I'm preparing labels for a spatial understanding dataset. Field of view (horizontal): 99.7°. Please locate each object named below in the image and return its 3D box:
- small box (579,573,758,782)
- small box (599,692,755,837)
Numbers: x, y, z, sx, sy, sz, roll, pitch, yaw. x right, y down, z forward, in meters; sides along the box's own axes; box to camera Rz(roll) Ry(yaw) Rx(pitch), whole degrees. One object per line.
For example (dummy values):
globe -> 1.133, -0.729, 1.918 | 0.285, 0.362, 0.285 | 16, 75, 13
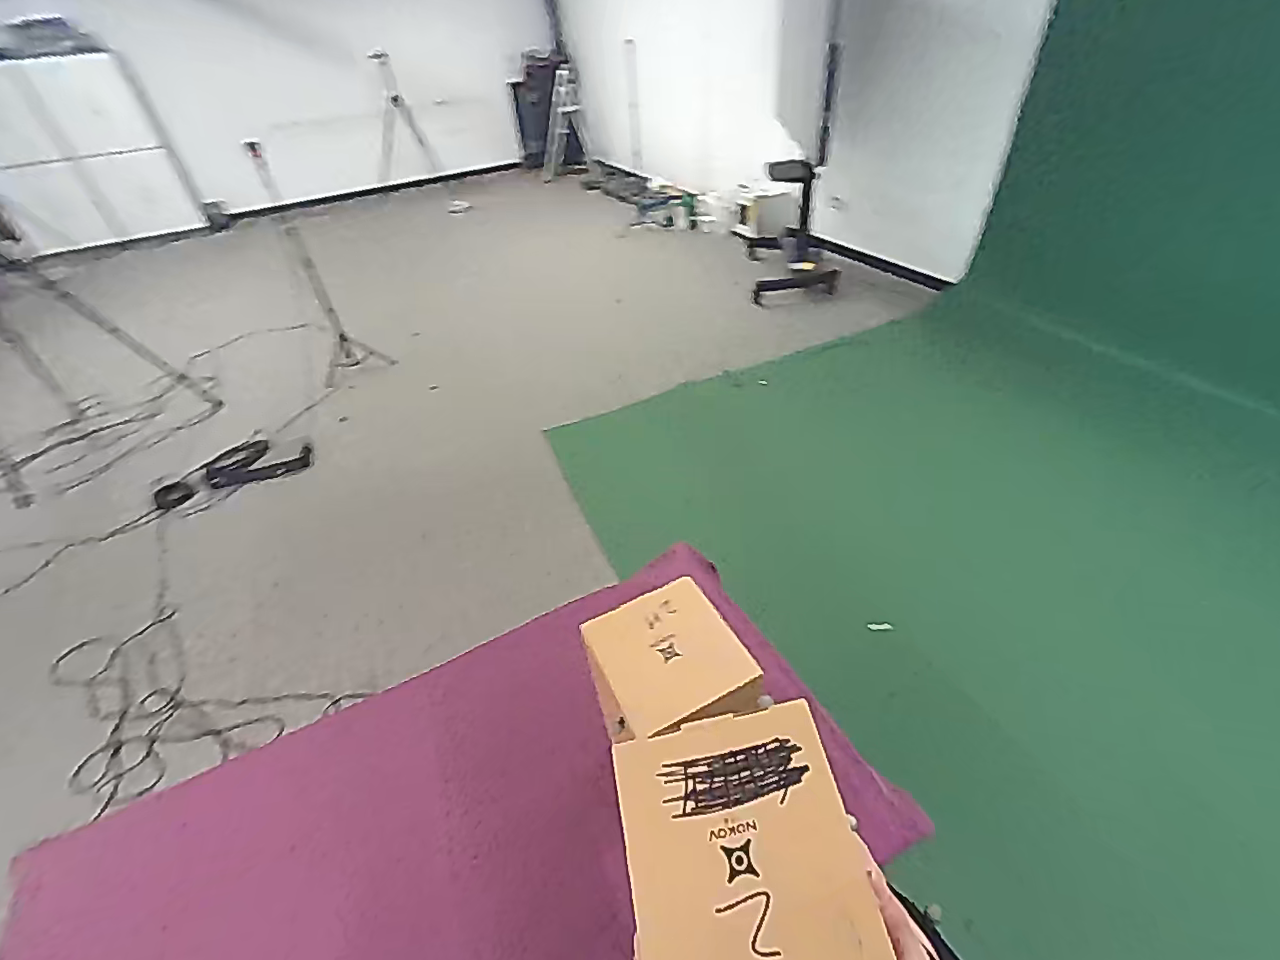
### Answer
small box -> 0.037, 0.263, 0.712 | 0.168, 0.176, 0.179 | -21, 42, -17
small box -> 0.054, 0.389, 0.818 | 0.168, 0.176, 0.179 | -24, 42, -17
